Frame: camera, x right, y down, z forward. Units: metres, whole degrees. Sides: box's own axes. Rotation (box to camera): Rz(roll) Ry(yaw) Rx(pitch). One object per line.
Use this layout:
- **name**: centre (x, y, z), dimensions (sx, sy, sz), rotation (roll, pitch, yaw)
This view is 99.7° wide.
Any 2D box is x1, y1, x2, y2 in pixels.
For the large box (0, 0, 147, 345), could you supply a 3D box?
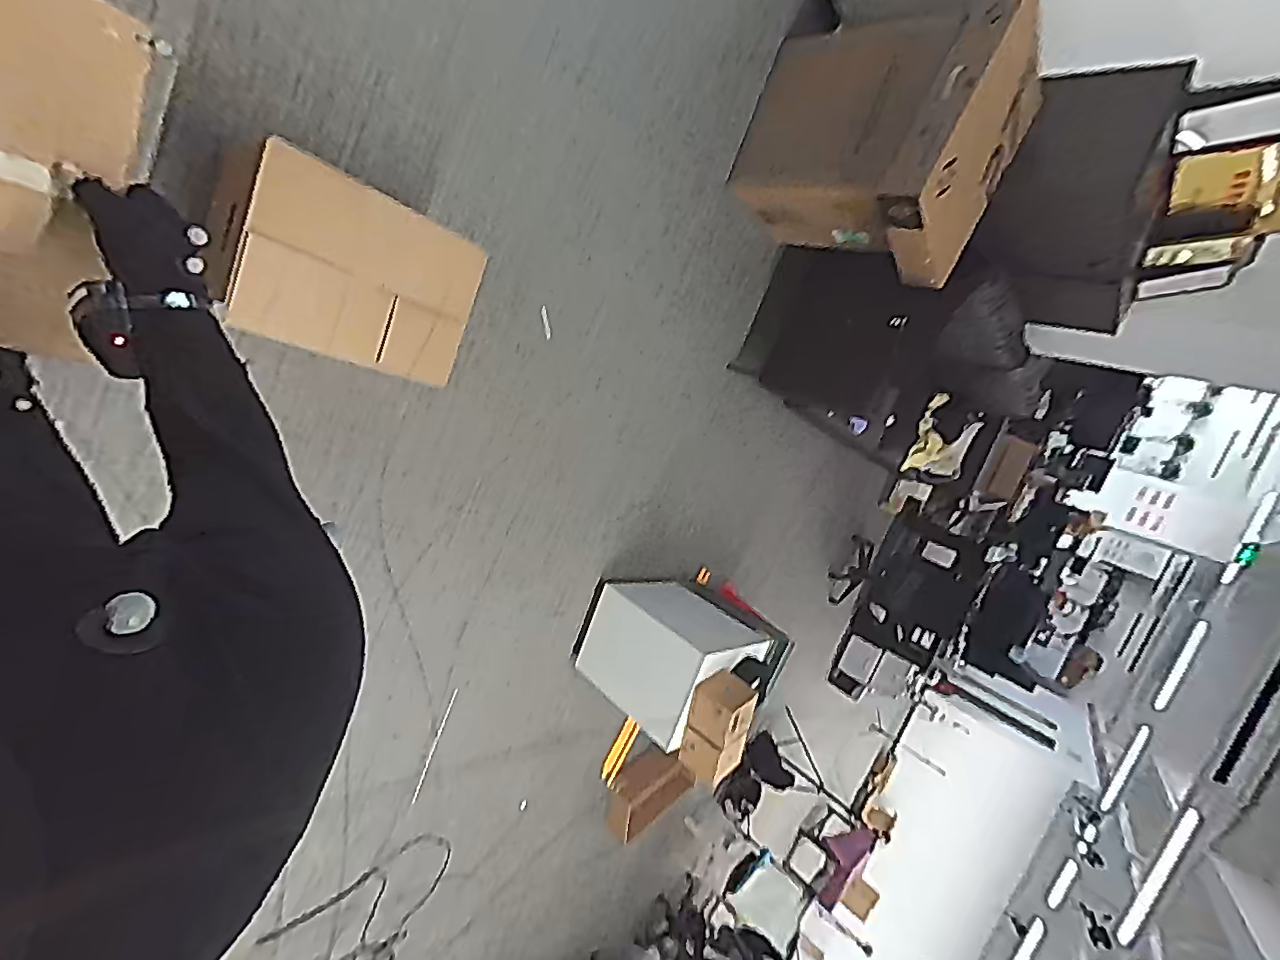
- **large box**: centre (-0.718, -0.339, 0.440), dimensions (0.408, 0.320, 0.320), rotation (6, 109, -52)
